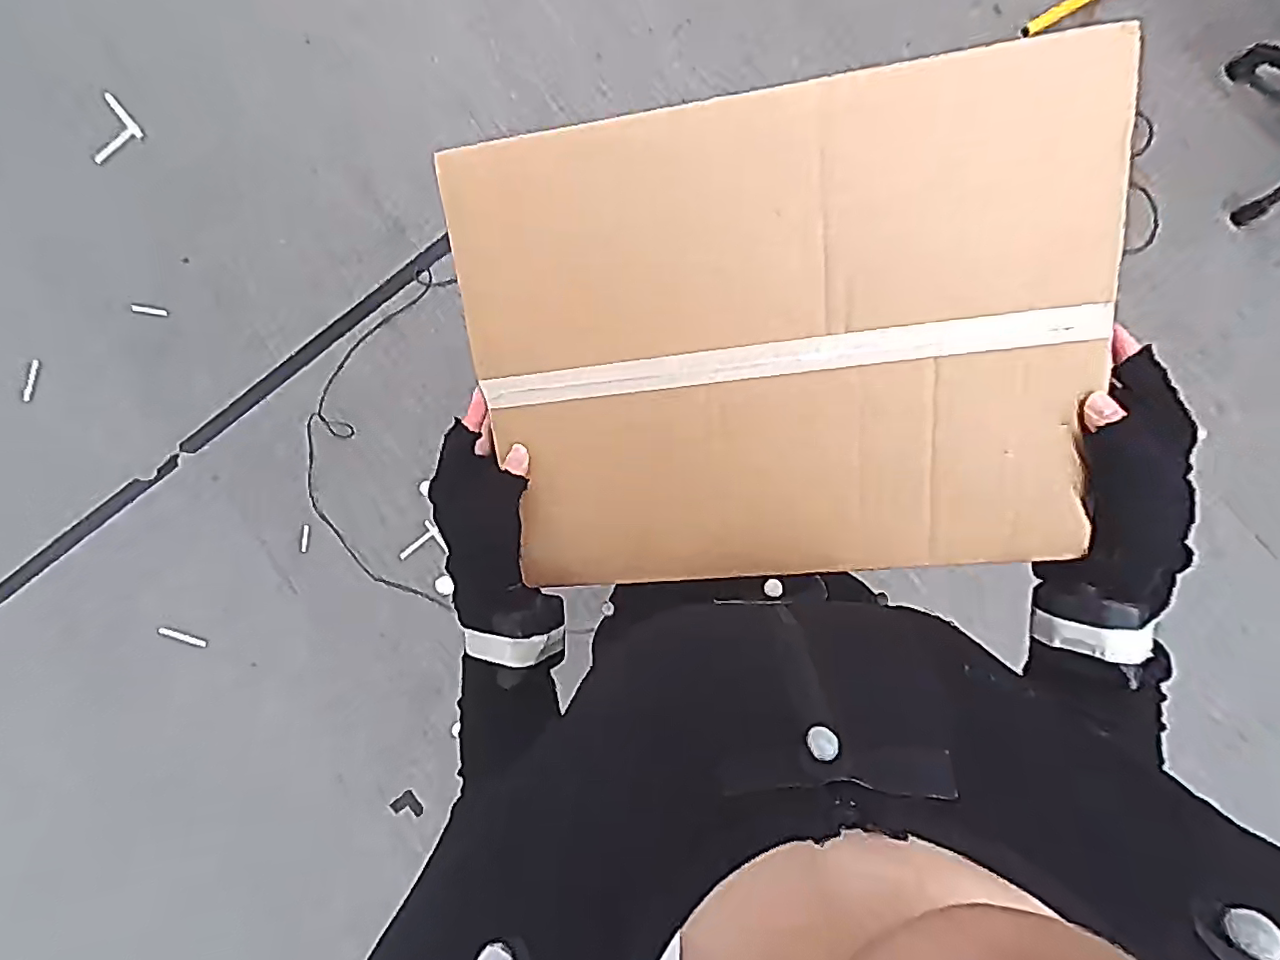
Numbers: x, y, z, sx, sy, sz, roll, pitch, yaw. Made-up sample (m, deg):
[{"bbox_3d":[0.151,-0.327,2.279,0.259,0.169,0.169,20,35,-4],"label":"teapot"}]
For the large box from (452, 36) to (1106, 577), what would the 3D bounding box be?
[{"bbox_3d":[0.102,-0.125,0.512,0.408,0.320,0.320,-4,107,9],"label":"large box"}]
